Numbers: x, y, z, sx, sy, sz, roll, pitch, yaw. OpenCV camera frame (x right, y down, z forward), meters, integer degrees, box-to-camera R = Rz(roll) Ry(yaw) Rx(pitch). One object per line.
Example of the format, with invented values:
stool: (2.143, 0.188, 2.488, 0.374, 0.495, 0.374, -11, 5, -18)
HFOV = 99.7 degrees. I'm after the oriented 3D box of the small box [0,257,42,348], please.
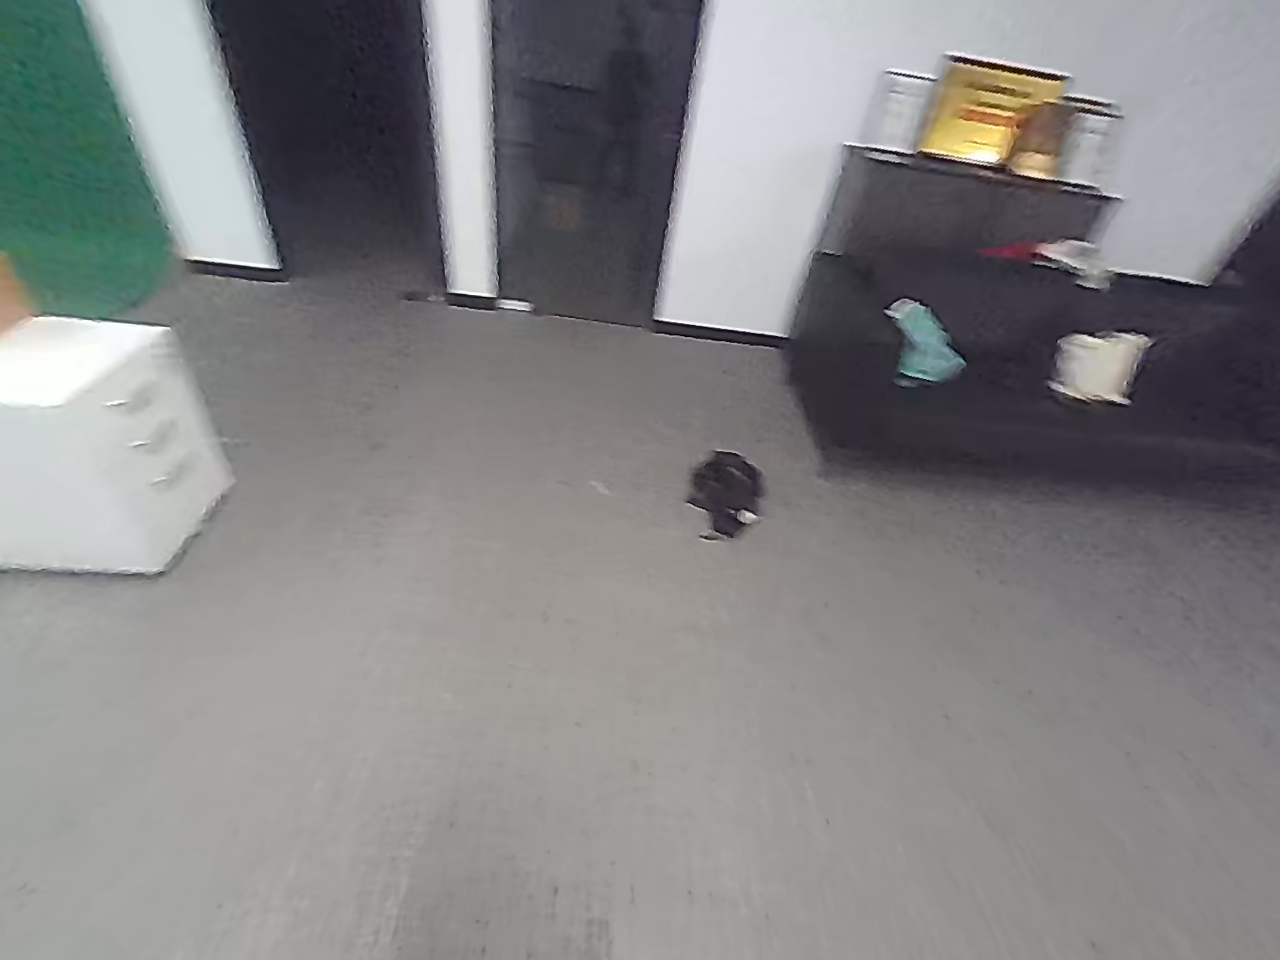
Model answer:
small box: (-1.625, -0.435, 1.307, 0.168, 0.176, 0.179, 4, 41, -9)
